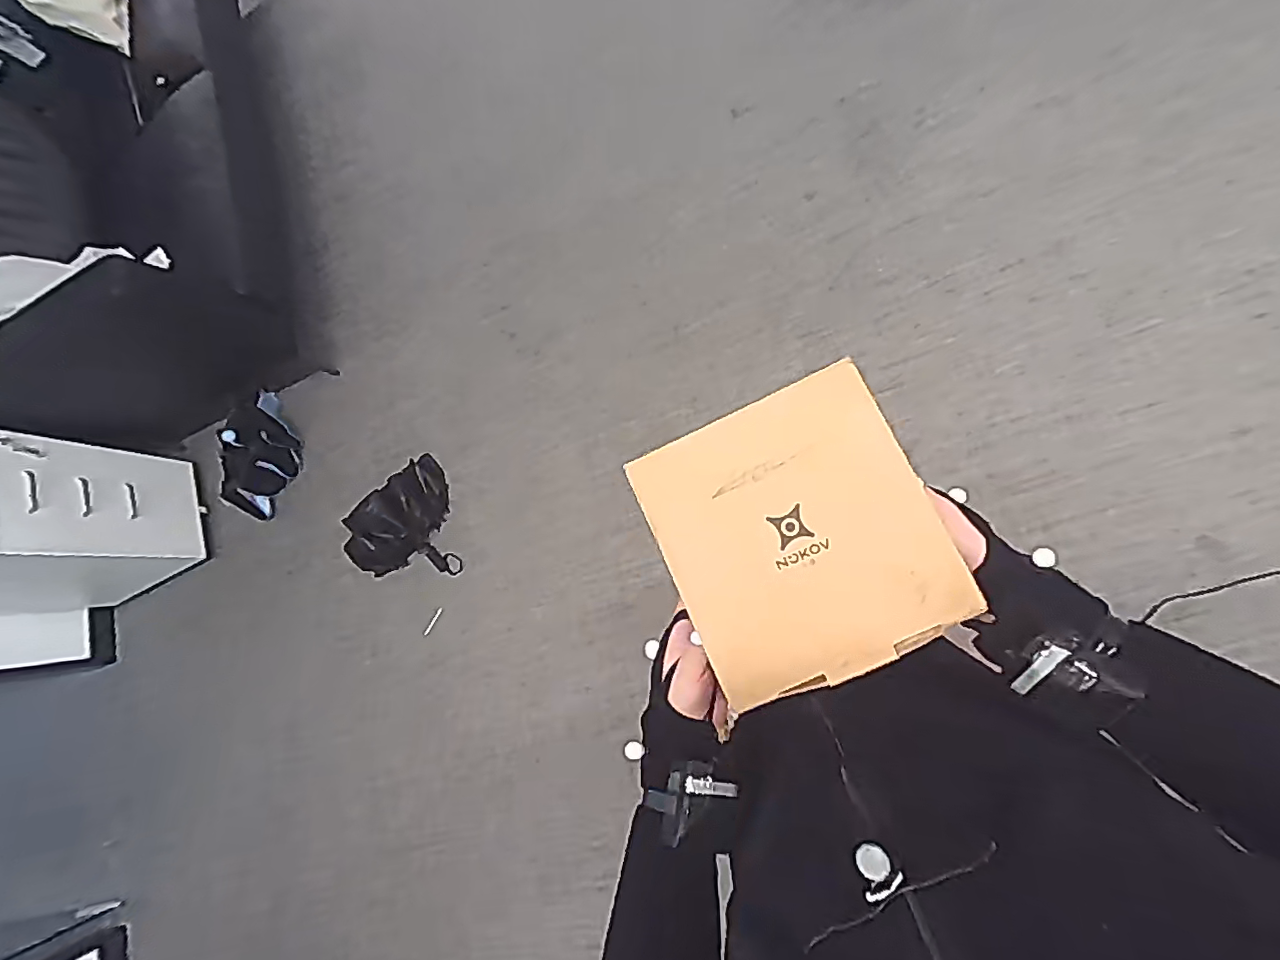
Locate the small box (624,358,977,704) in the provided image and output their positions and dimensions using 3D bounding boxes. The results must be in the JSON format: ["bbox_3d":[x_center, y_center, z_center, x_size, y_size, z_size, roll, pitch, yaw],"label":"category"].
[{"bbox_3d":[0.109,0.040,0.421,0.168,0.176,0.179,-26,78,6],"label":"small box"}]
